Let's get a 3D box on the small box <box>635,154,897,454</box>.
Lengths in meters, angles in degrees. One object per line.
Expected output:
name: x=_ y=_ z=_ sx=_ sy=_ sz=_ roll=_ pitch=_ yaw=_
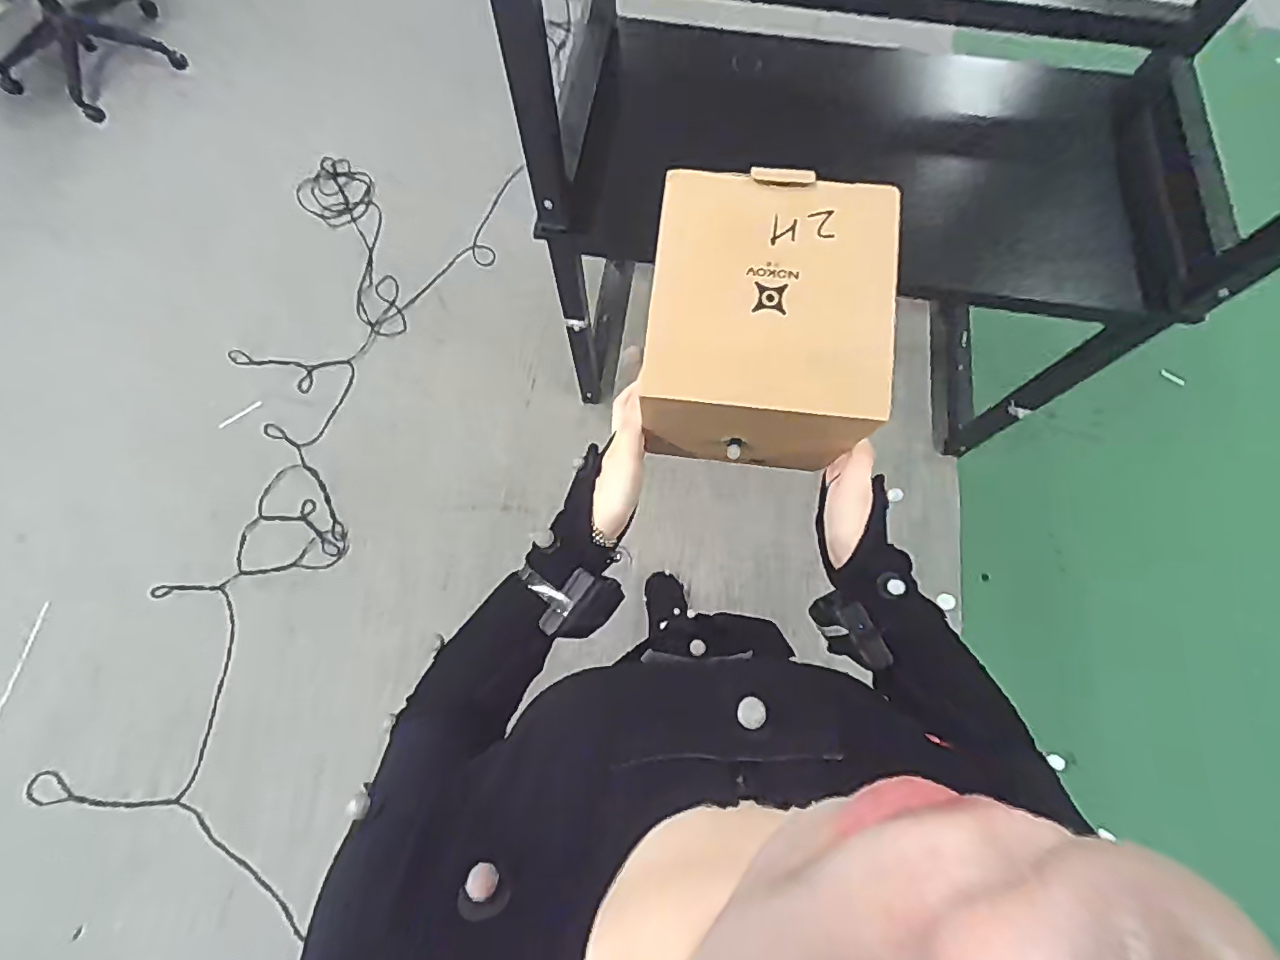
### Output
small box: x=0.092 y=-0.126 z=0.448 sx=0.168 sy=0.176 sz=0.179 roll=7 pitch=80 yaw=3
